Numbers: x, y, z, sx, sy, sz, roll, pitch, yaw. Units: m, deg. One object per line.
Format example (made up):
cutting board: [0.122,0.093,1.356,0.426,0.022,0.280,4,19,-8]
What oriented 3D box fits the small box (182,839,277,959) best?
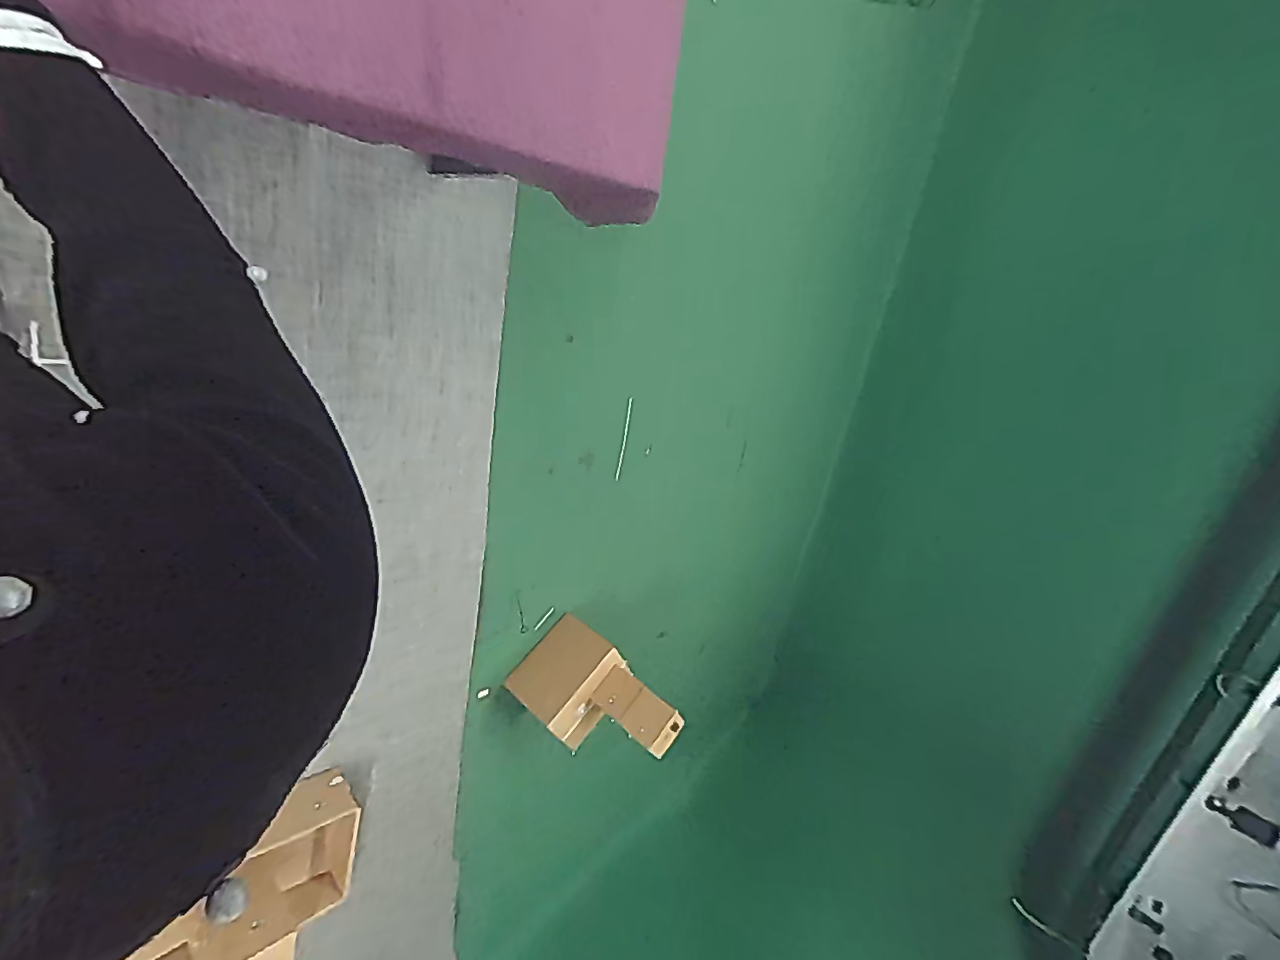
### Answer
small box: [-1.166,1.176,1.534,0.179,0.176,0.168,-3,112,-50]

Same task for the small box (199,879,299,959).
small box: [-1.044,1.230,1.438,0.179,0.176,0.168,-3,112,-52]
